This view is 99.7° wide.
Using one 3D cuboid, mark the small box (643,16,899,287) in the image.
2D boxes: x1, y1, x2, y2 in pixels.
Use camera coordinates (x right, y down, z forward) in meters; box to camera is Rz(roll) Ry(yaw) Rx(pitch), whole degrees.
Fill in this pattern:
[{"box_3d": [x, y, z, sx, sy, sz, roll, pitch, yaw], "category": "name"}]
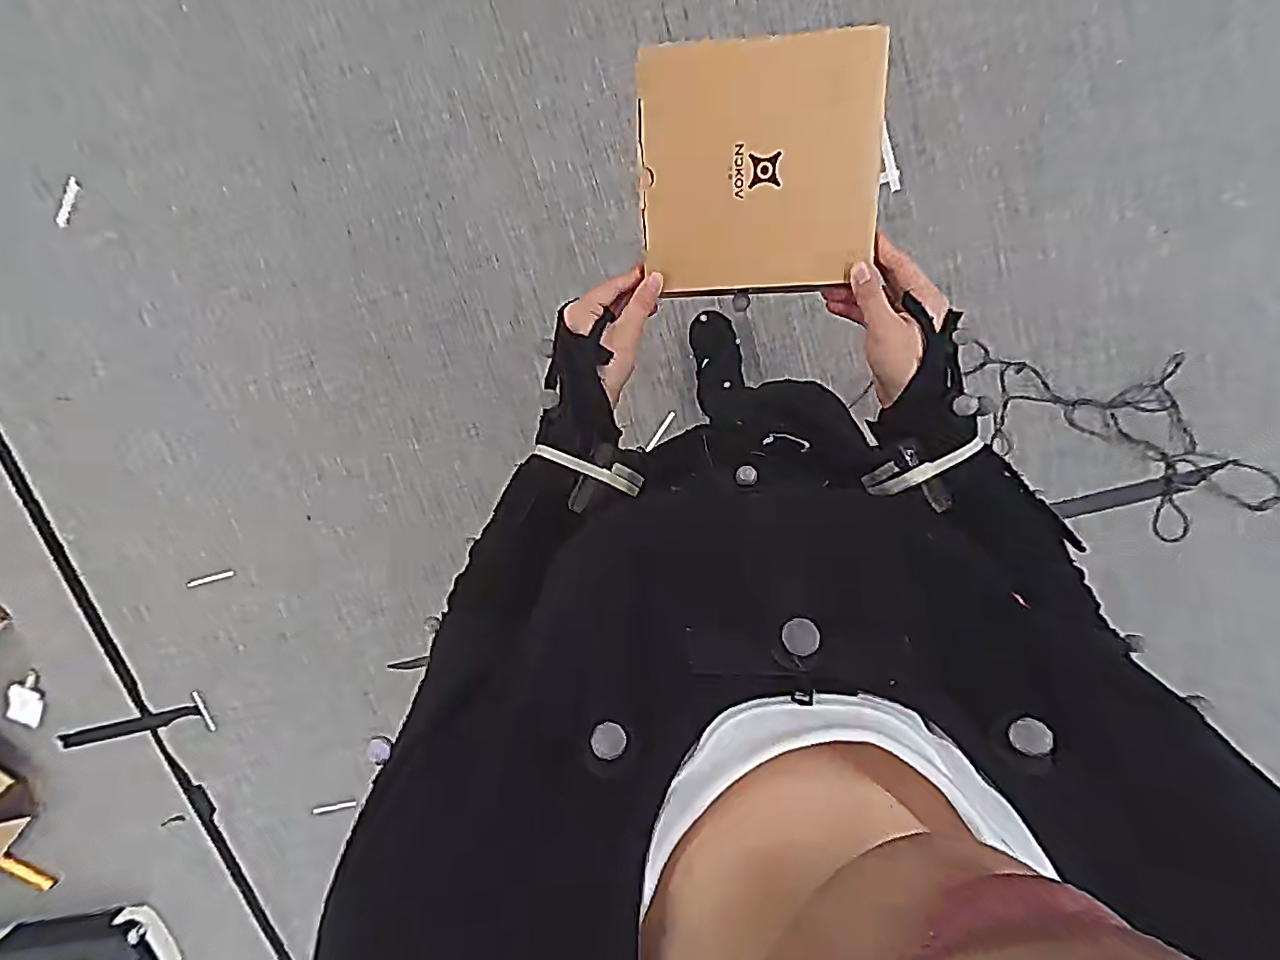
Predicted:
[{"box_3d": [0.096, -0.258, 0.469, 0.179, 0.176, 0.168, -1, 108, 5], "category": "small box"}]
